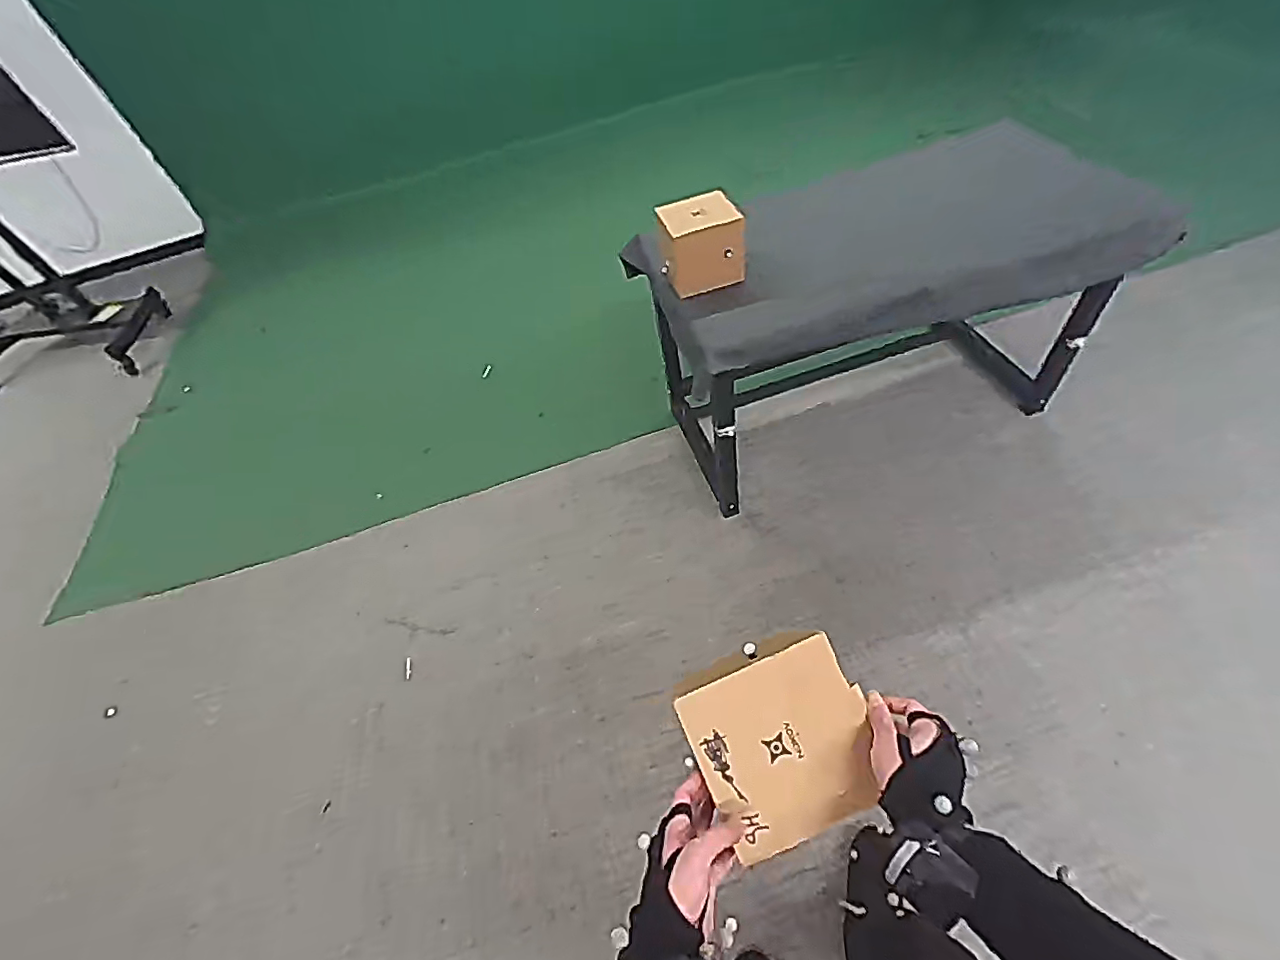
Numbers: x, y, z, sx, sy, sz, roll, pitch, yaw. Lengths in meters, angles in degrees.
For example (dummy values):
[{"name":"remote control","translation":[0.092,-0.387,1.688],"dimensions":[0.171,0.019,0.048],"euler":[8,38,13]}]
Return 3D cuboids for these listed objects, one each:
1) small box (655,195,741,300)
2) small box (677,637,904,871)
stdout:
[{"name":"small box","translation":[0.147,-0.587,1.368],"dimensions":[0.179,0.176,0.168],"euler":[-16,49,-2]},{"name":"small box","translation":[0.153,0.290,0.619],"dimensions":[0.179,0.176,0.168],"euler":[-23,76,-4]}]
